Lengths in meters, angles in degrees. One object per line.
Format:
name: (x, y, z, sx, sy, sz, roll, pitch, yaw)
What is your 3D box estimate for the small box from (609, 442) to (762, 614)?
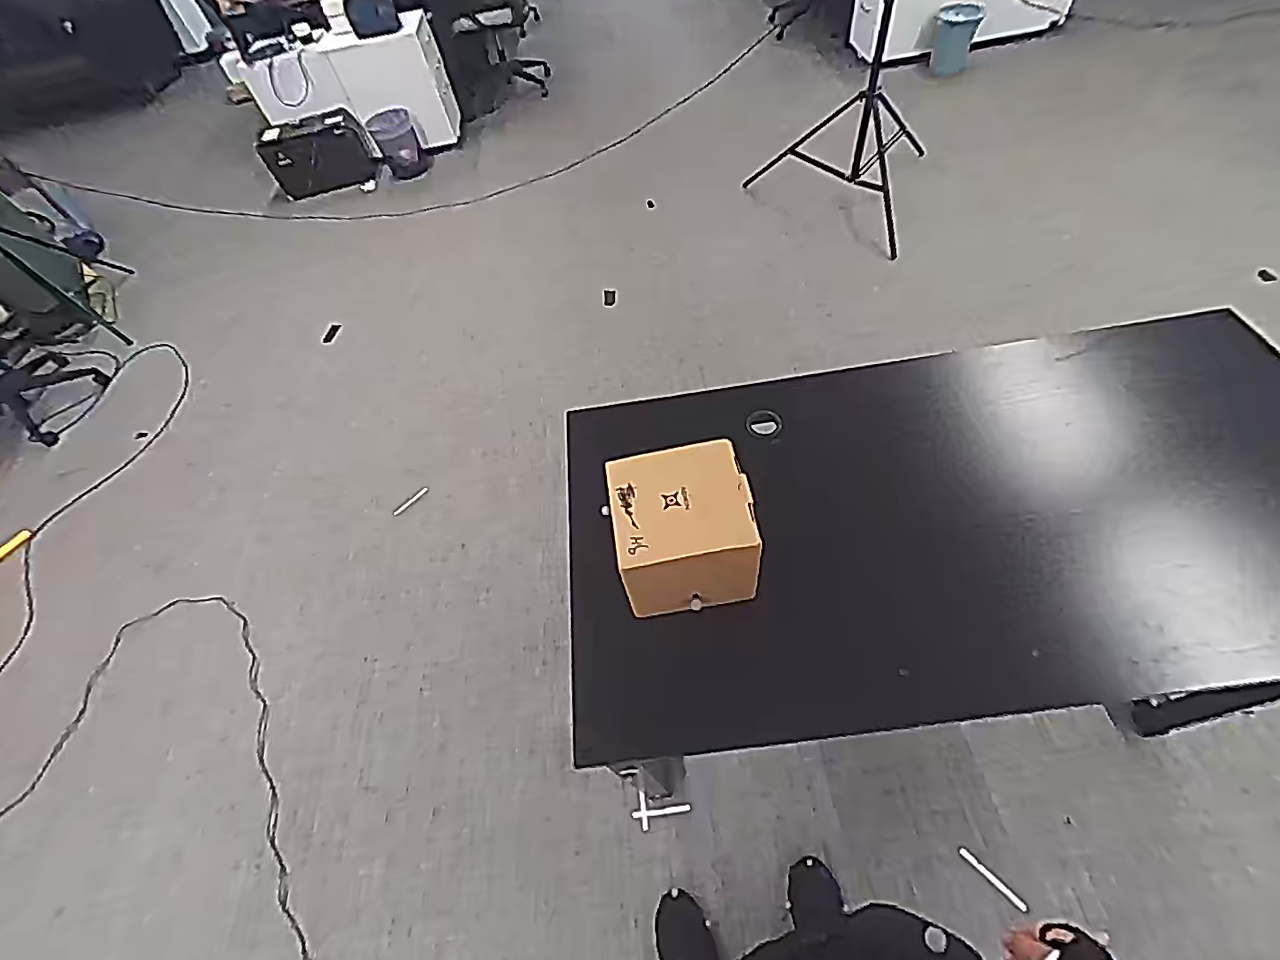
small box: (0.059, 0.072, 0.758, 0.179, 0.176, 0.168, -10, 54, 0)
